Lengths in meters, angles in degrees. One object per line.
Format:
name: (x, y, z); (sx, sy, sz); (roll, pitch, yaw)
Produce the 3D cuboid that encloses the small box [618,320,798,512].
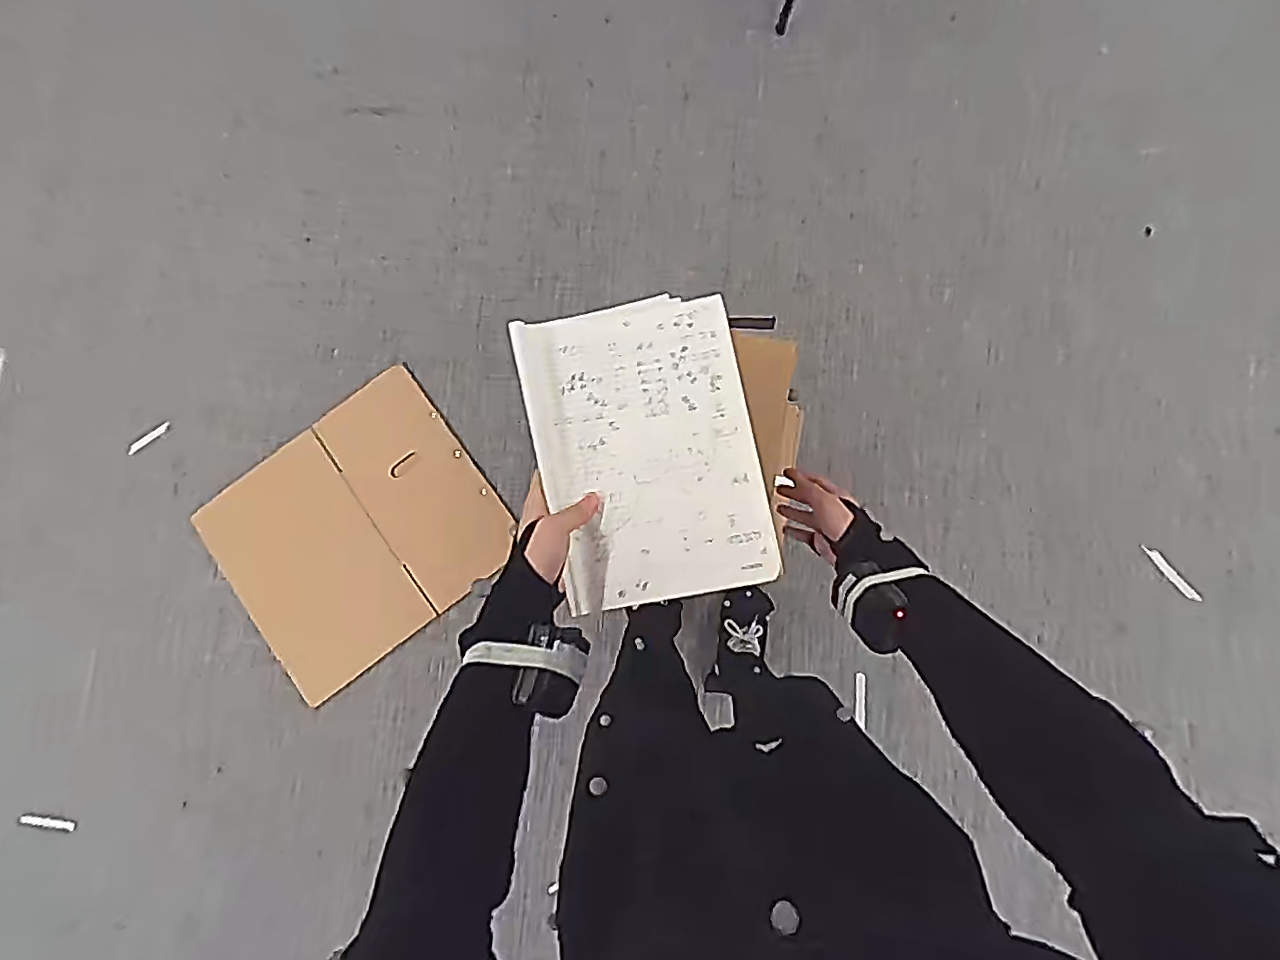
small box: (0.076, -0.065, 0.645); (0.168, 0.176, 0.179); (10, 84, 5)
